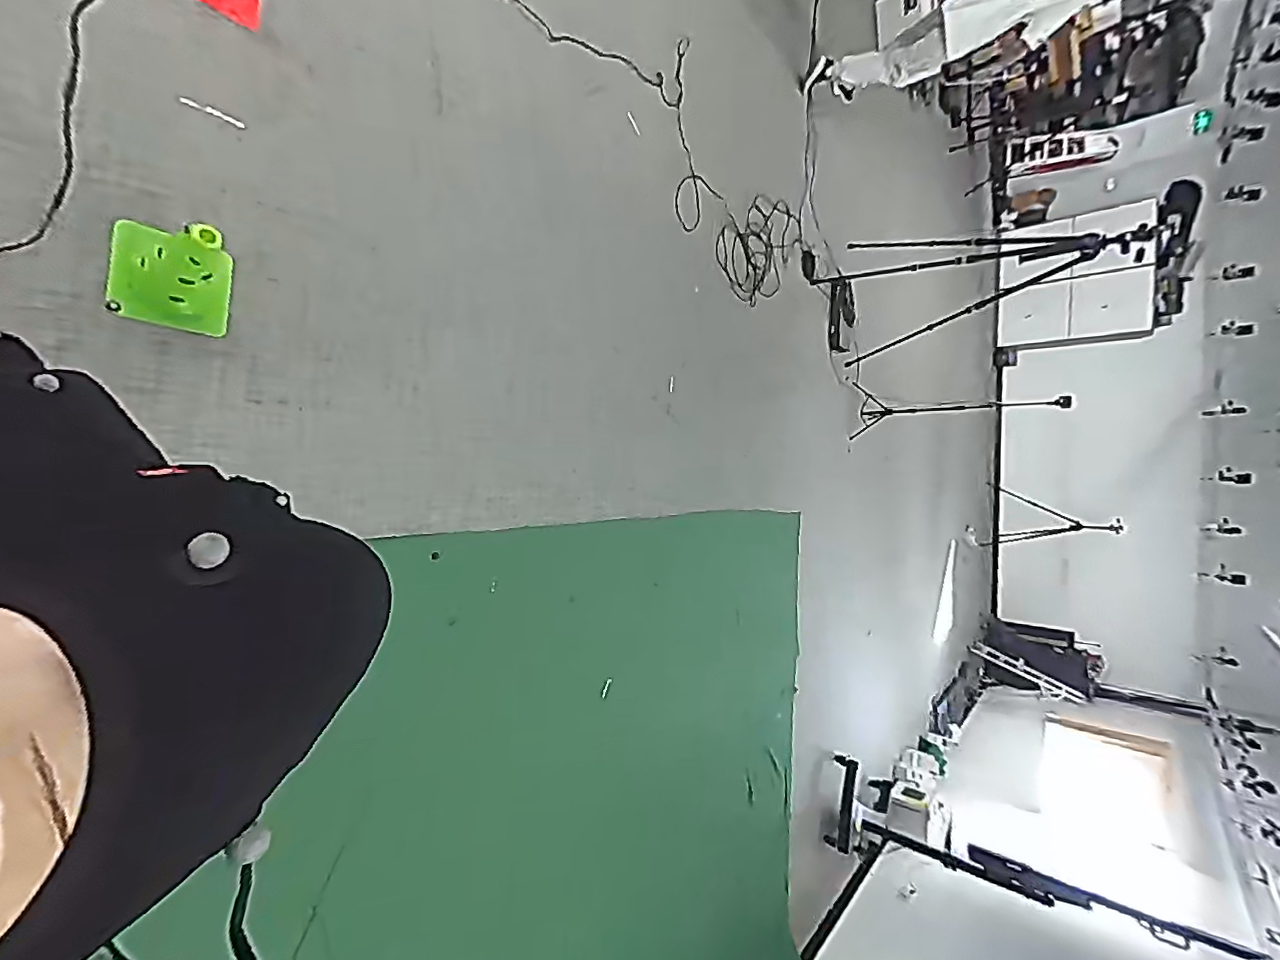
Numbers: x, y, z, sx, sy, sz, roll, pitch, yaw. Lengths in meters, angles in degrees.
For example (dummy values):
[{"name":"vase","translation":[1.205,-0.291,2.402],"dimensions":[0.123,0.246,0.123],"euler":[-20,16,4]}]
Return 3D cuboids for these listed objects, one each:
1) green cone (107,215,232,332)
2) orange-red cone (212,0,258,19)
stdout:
[{"name":"green cone","translation":[-0.883,-0.437,1.058],"dimensions":[0.200,0.368,0.202],"euler":[4,87,-49]},{"name":"orange-red cone","translation":[-0.838,-1.166,1.086],"dimensions":[0.198,0.360,0.199],"euler":[8,87,-47]}]
